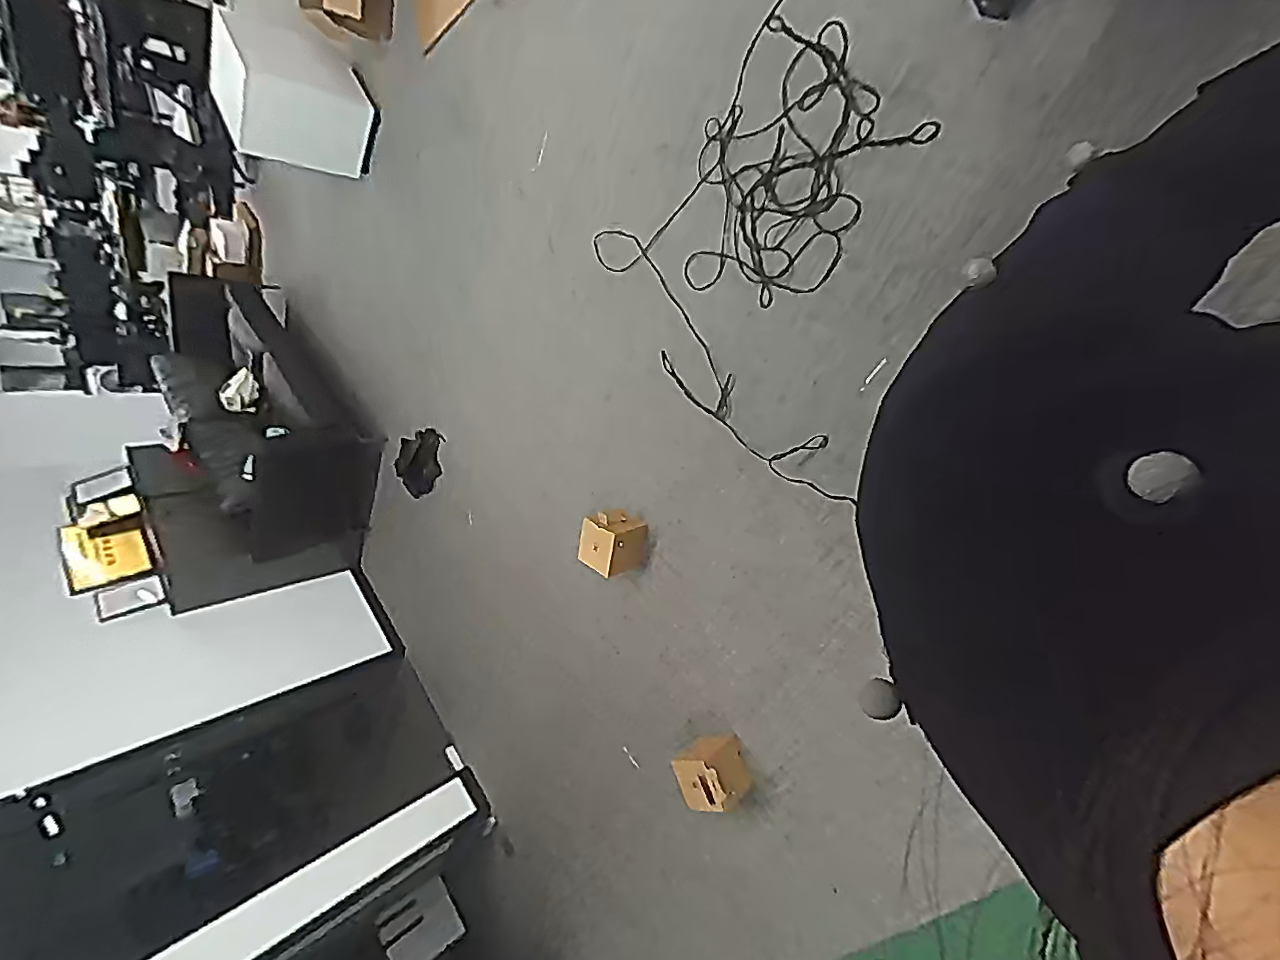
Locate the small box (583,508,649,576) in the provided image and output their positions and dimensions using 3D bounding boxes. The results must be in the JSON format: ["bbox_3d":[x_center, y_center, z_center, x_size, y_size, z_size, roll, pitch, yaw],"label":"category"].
[{"bbox_3d":[-0.087,0.221,1.975,0.168,0.176,0.179,26,115,38],"label":"small box"}]
